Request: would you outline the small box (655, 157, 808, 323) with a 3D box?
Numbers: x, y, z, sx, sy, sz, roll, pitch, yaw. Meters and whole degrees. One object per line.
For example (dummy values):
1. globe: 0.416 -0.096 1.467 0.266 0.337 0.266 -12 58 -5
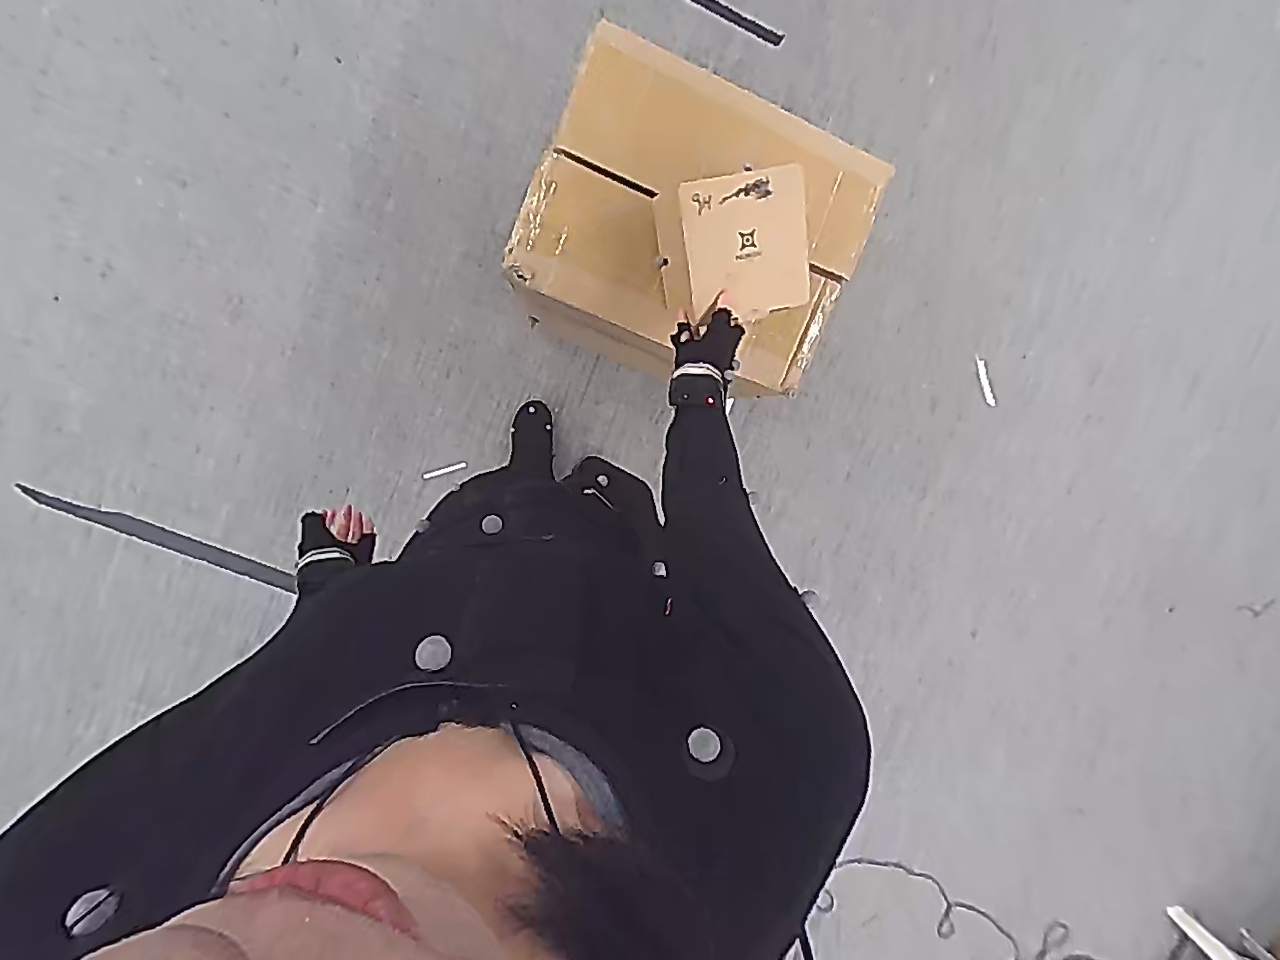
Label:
1. small box: 0.124 -0.335 0.772 0.168 0.176 0.179 -13 111 -3
